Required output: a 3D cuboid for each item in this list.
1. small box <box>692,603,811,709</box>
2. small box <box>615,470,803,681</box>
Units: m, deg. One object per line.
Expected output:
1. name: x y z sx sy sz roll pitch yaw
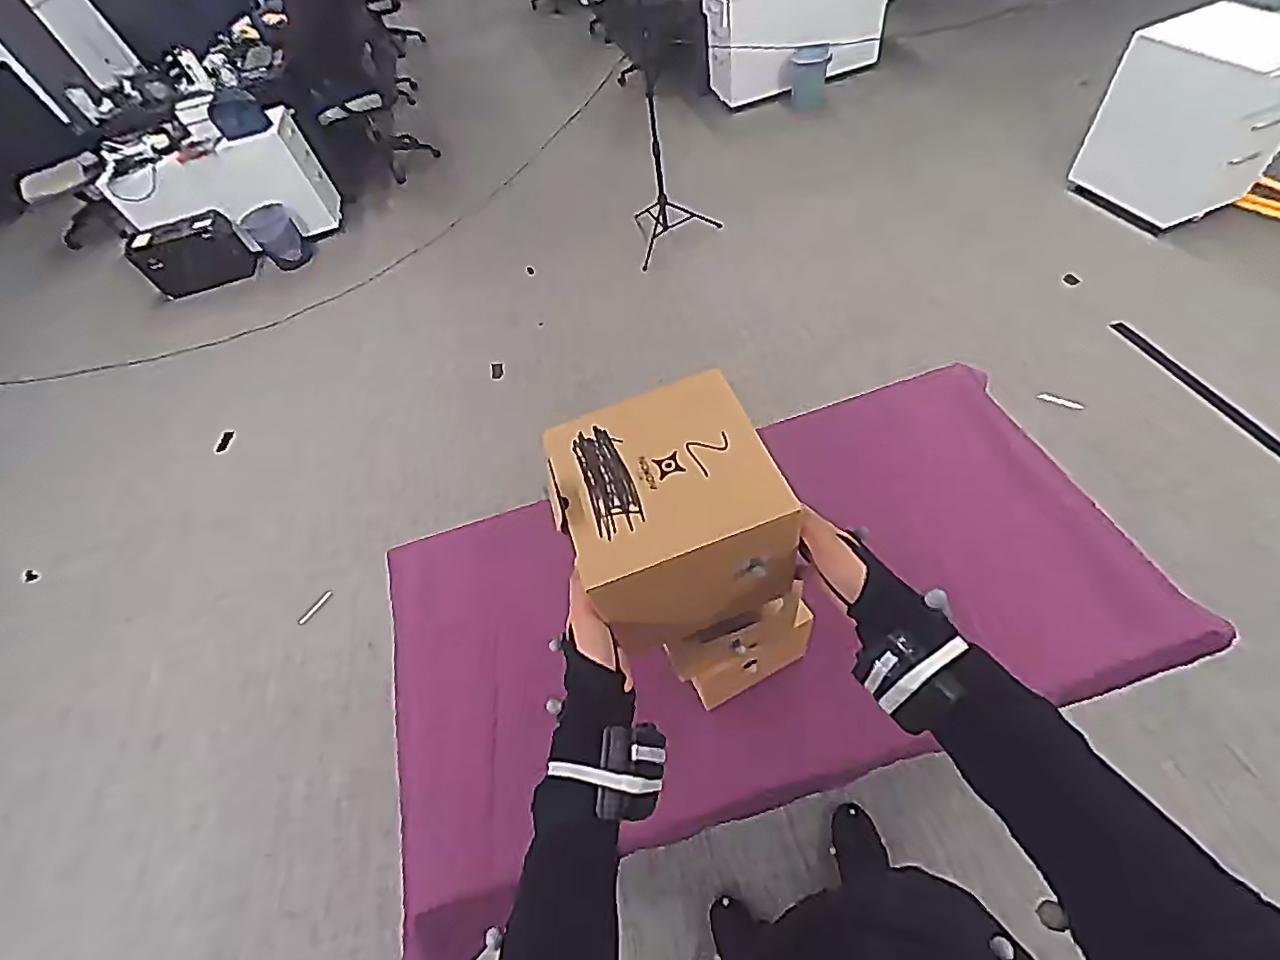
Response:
1. small box: 0.133 0.216 0.813 0.179 0.176 0.168 -26 55 -8
2. small box: 0.084 0.124 0.684 0.168 0.176 0.179 -23 54 -4
